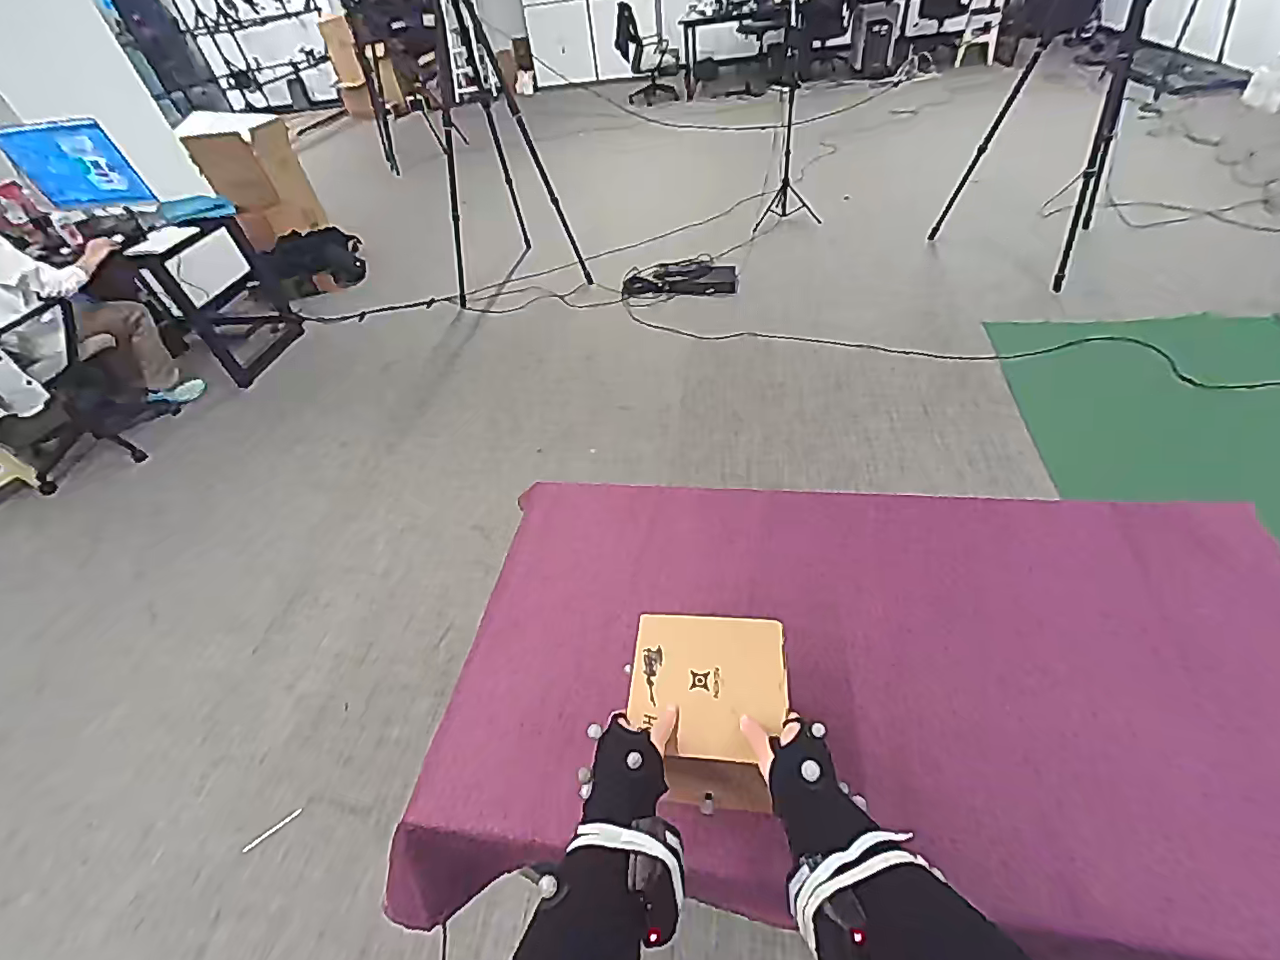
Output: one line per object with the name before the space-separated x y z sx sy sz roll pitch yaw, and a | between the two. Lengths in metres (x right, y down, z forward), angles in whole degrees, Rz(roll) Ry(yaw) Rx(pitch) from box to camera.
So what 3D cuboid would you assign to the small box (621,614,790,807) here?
small box | 0.082 0.285 0.666 0.179 0.176 0.168 1 45 9
